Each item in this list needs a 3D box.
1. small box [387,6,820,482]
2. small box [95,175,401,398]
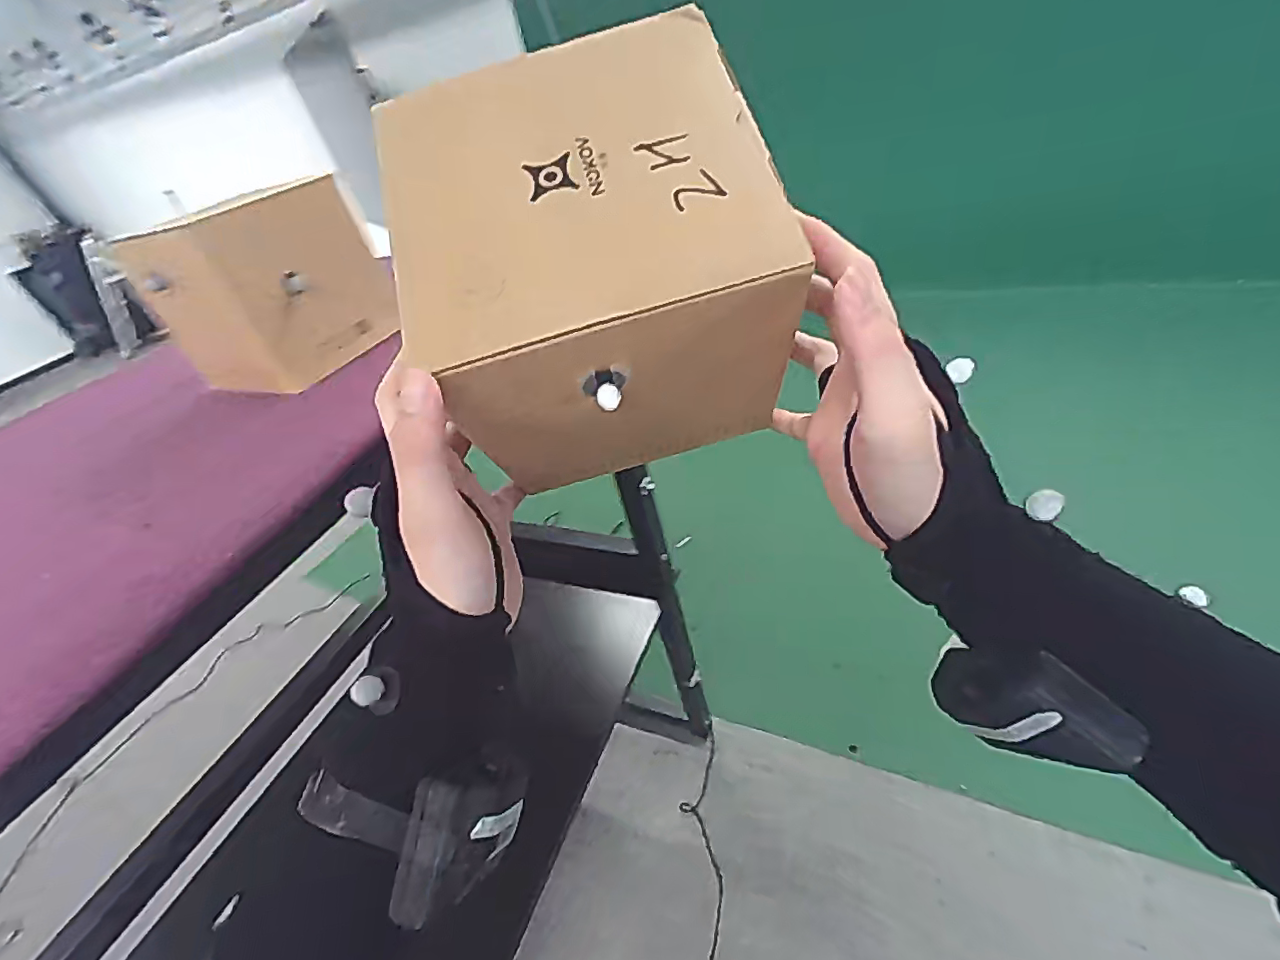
[{"bbox_3d":[-0.017,-0.112,0.319,0.179,0.176,0.168,-15,71,2],"label":"small box"},{"bbox_3d":[-0.402,-0.201,0.583,0.179,0.176,0.168,7,44,29],"label":"small box"}]
